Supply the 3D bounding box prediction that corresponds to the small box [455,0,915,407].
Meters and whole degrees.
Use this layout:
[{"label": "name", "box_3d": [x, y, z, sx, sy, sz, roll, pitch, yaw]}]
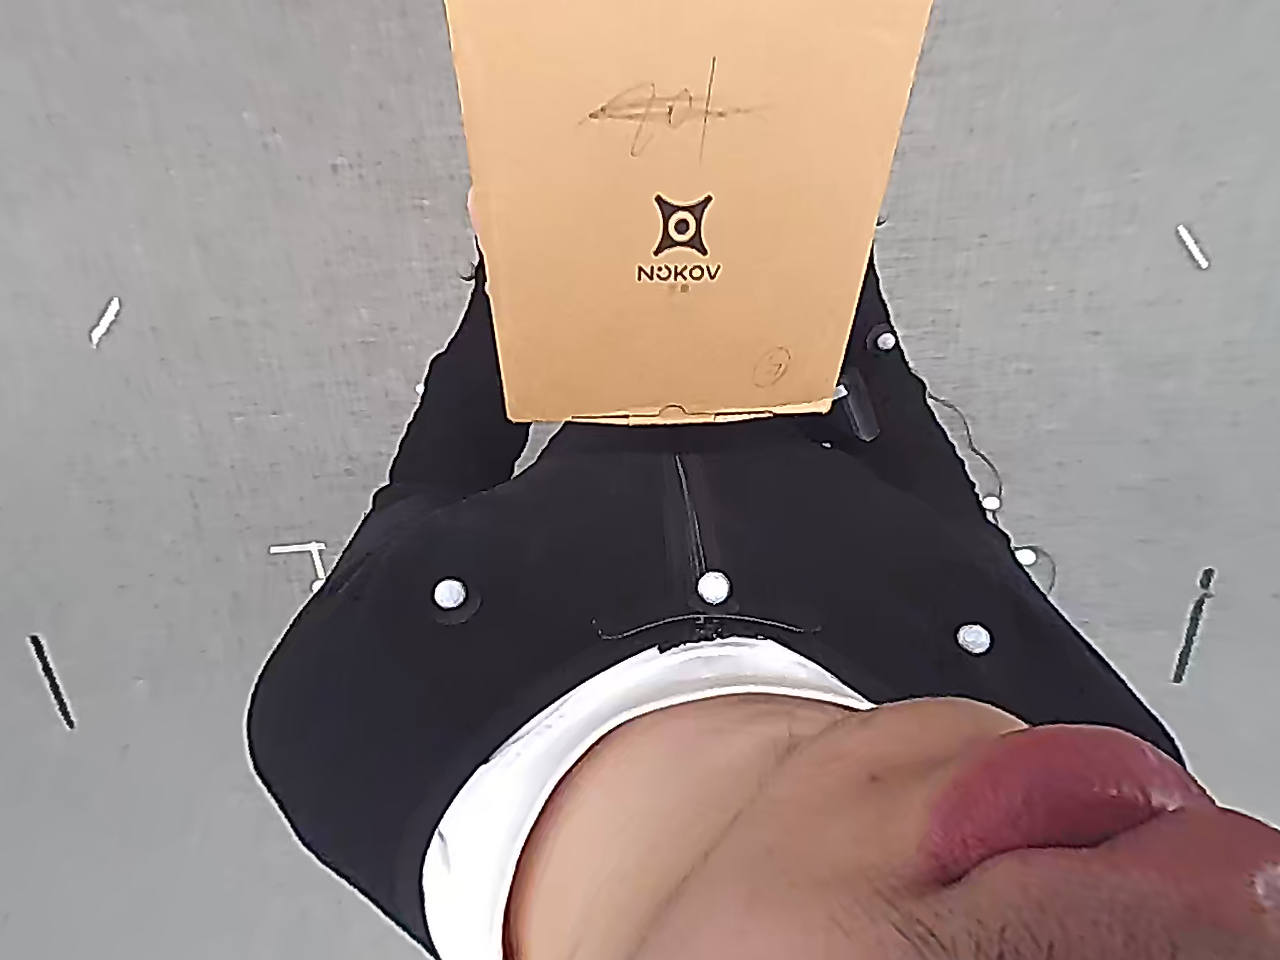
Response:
[{"label": "small box", "box_3d": [0.010, -0.156, 0.298, 0.168, 0.176, 0.179, -2, 126, -4]}]
